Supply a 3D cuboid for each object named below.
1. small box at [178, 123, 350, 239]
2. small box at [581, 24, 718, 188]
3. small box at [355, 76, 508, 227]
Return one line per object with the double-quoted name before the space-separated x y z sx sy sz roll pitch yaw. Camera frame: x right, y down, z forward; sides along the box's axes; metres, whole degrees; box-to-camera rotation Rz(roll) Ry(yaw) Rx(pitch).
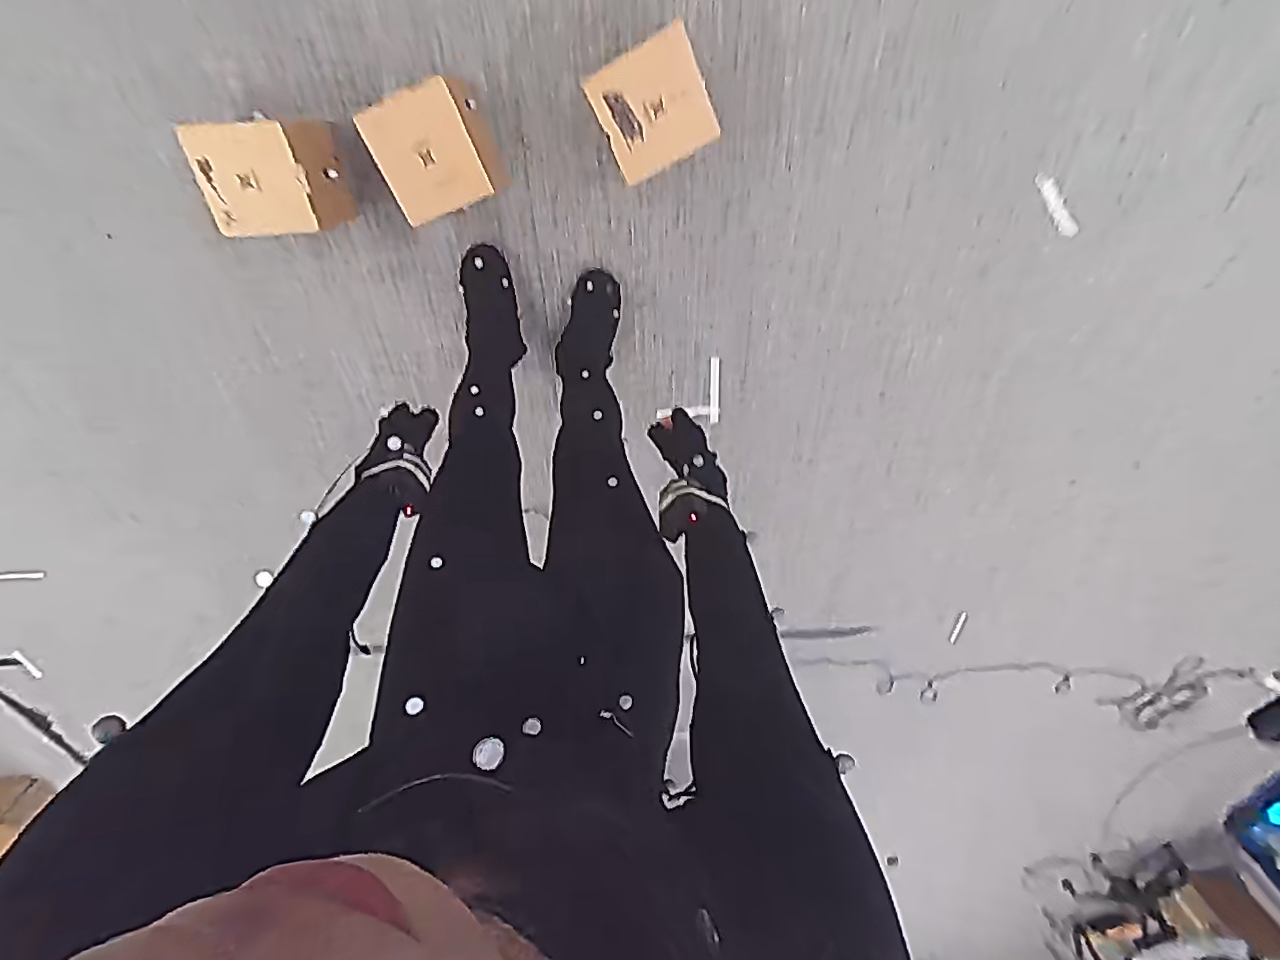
"small box" -0.649 -0.538 0.967 0.179 0.176 0.168 -3 124 -1
"small box" 0.015 -0.633 0.931 0.179 0.176 0.168 -24 122 12
"small box" -0.353 -0.576 0.955 0.168 0.176 0.179 -17 124 10
